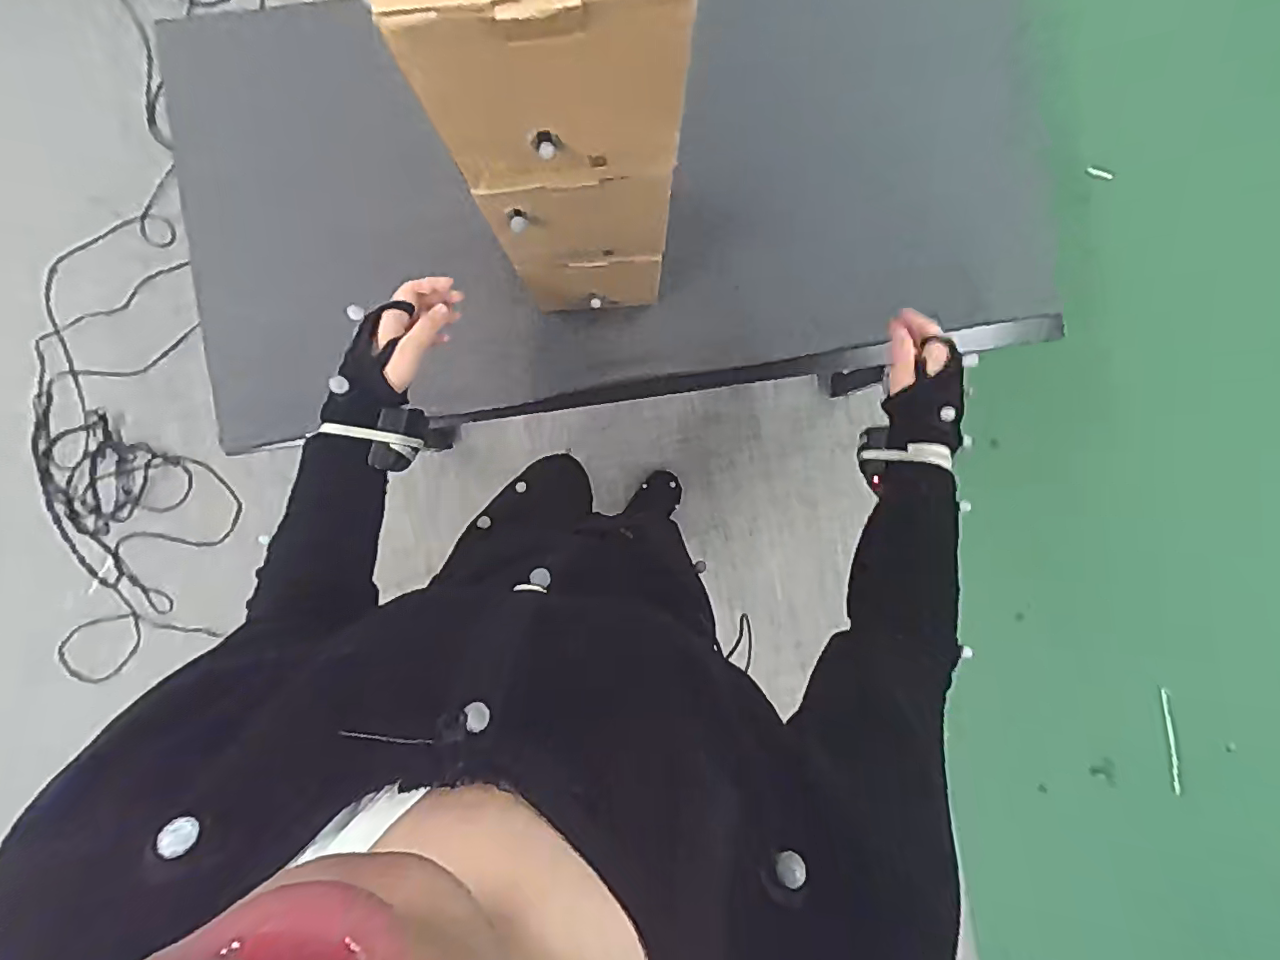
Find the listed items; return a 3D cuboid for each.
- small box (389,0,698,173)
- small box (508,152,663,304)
[{"bbox_3d":[-0.062,-0.330,0.336,0.168,0.176,0.179,-8,91,-1],"label":"small box"},{"bbox_3d":[-0.062,-0.332,0.663,0.168,0.176,0.179,-3,91,0],"label":"small box"}]
